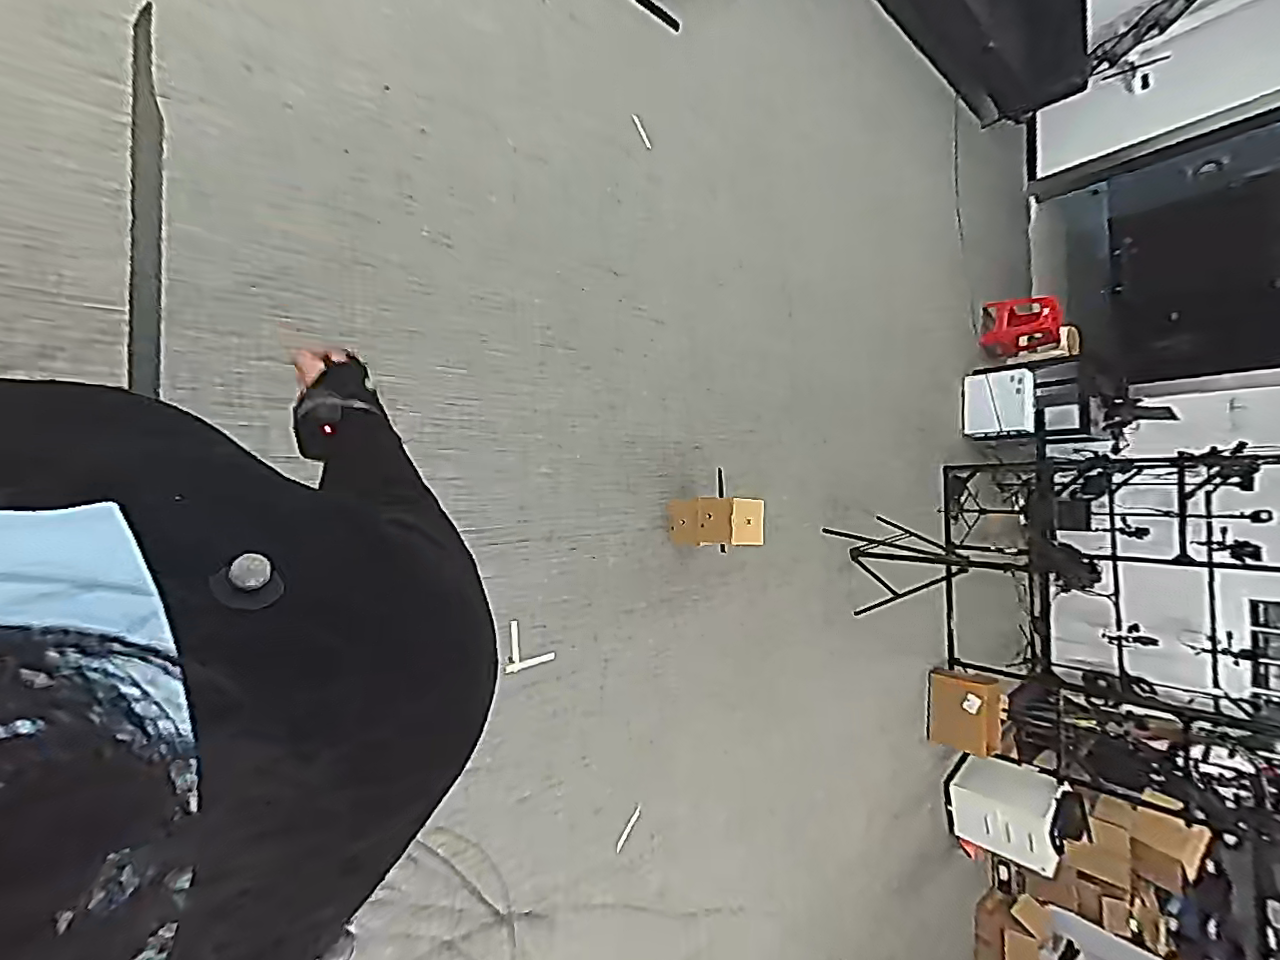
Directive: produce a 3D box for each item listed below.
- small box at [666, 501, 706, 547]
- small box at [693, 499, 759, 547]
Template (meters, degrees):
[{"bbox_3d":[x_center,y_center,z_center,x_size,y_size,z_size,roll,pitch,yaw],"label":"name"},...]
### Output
[{"bbox_3d":[0.212,0.167,2.109,0.179,0.176,0.168,-3,91,-42],"label":"small box"},{"bbox_3d":[0.315,0.157,1.983,0.179,0.176,0.168,6,85,-40],"label":"small box"}]
